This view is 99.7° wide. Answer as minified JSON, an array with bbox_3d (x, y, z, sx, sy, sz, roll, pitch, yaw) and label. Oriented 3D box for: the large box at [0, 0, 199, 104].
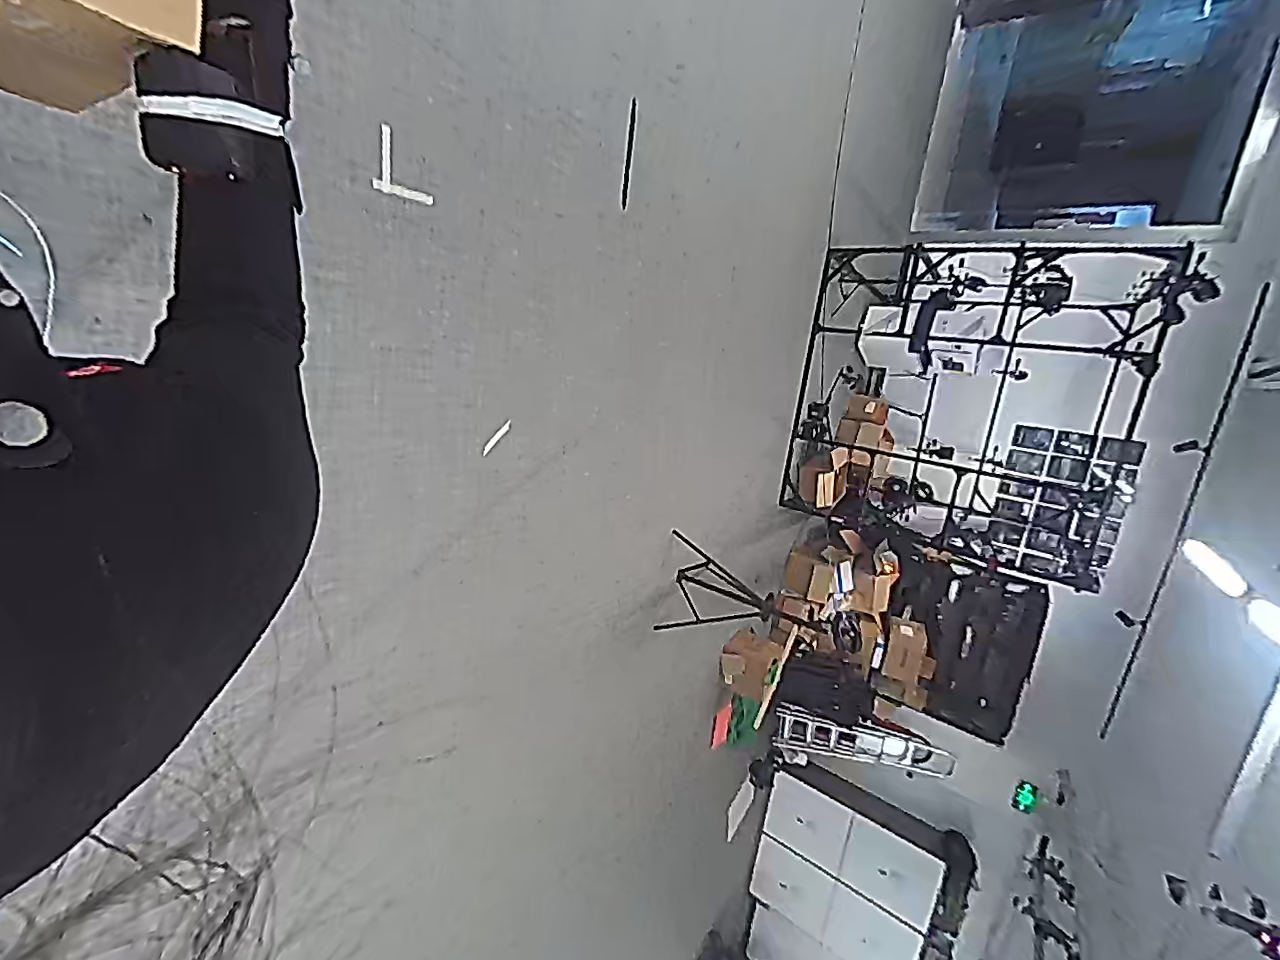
[{"bbox_3d":[-0.496,-0.437,0.232,0.408,0.320,0.320,-8,112,-56],"label":"large box"}]
